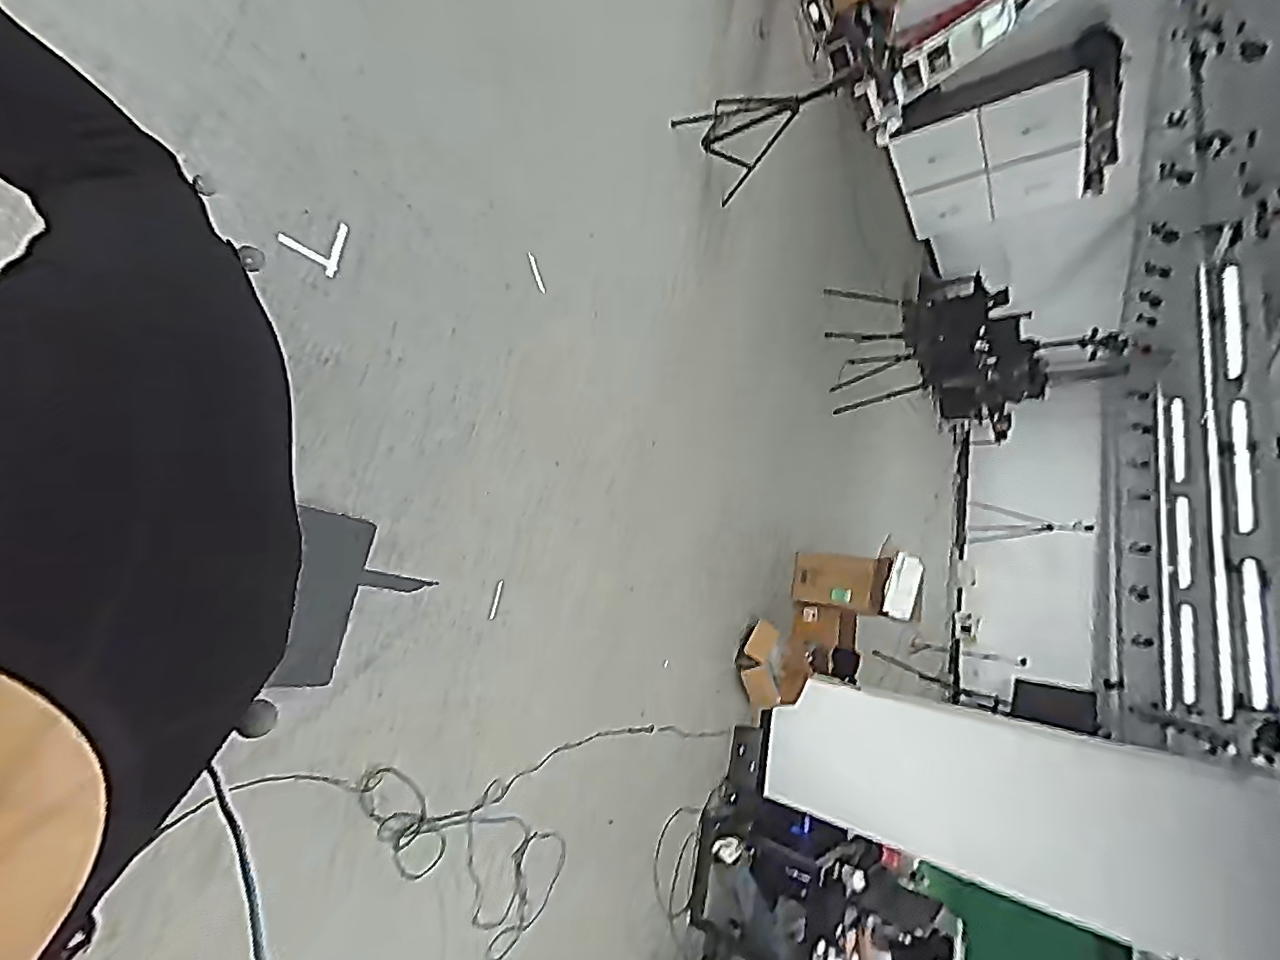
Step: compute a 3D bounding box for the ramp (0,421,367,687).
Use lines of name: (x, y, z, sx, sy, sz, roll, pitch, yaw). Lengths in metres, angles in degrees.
ramp: (-1.112, 0.204, 1.215, 0.991, 0.206, 0.509, 24, 71, -50)
